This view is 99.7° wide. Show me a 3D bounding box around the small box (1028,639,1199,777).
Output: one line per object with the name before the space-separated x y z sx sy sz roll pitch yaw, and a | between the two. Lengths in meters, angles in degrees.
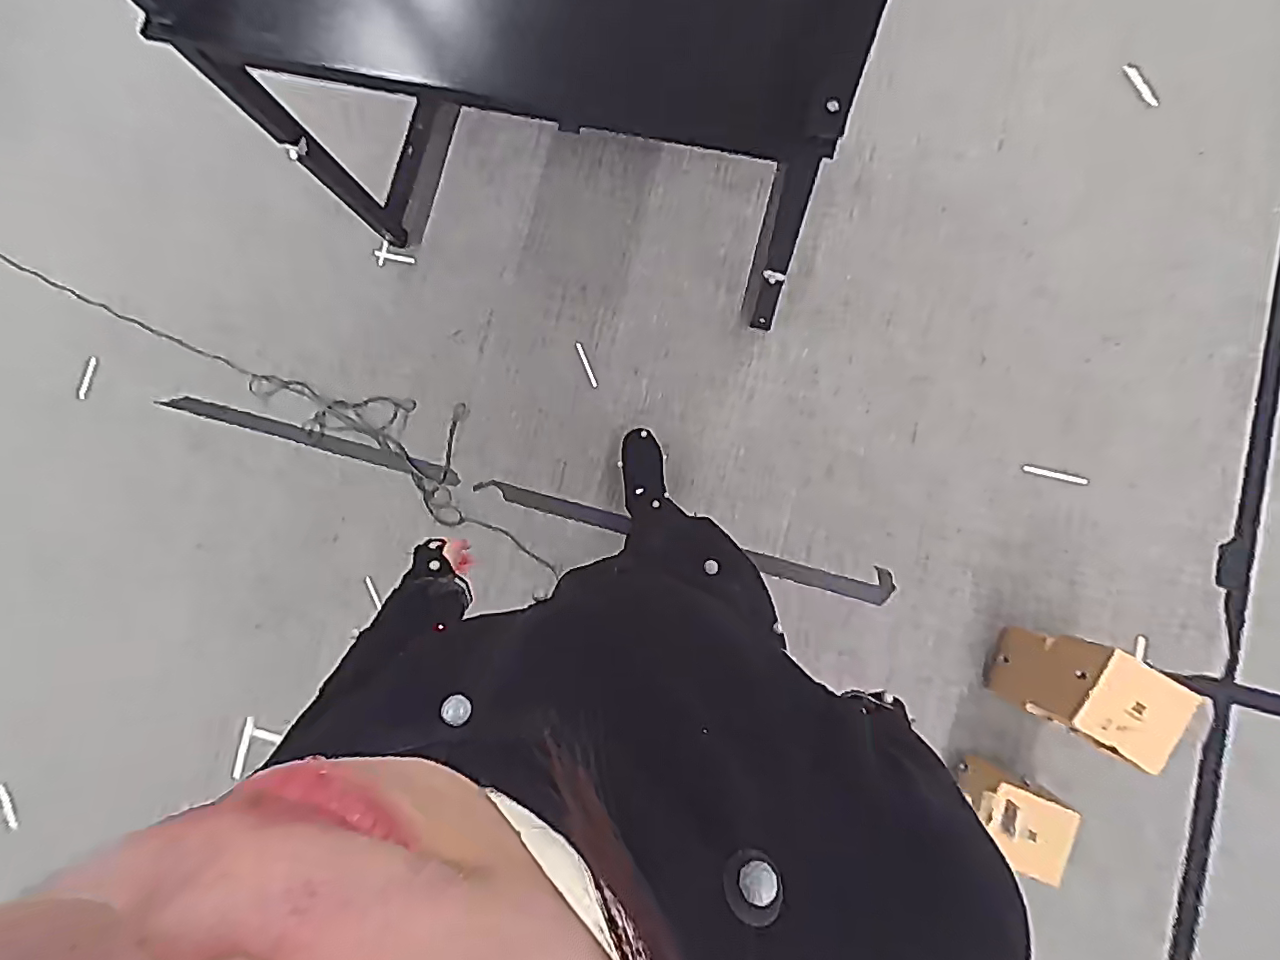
small box | 0.946 0.449 1.100 0.168 0.176 0.179 32 89 9

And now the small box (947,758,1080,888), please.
small box | 0.849 0.776 1.250 0.179 0.176 0.168 21 88 7

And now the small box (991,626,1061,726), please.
small box | 0.961 0.464 1.264 0.168 0.176 0.179 20 88 8
